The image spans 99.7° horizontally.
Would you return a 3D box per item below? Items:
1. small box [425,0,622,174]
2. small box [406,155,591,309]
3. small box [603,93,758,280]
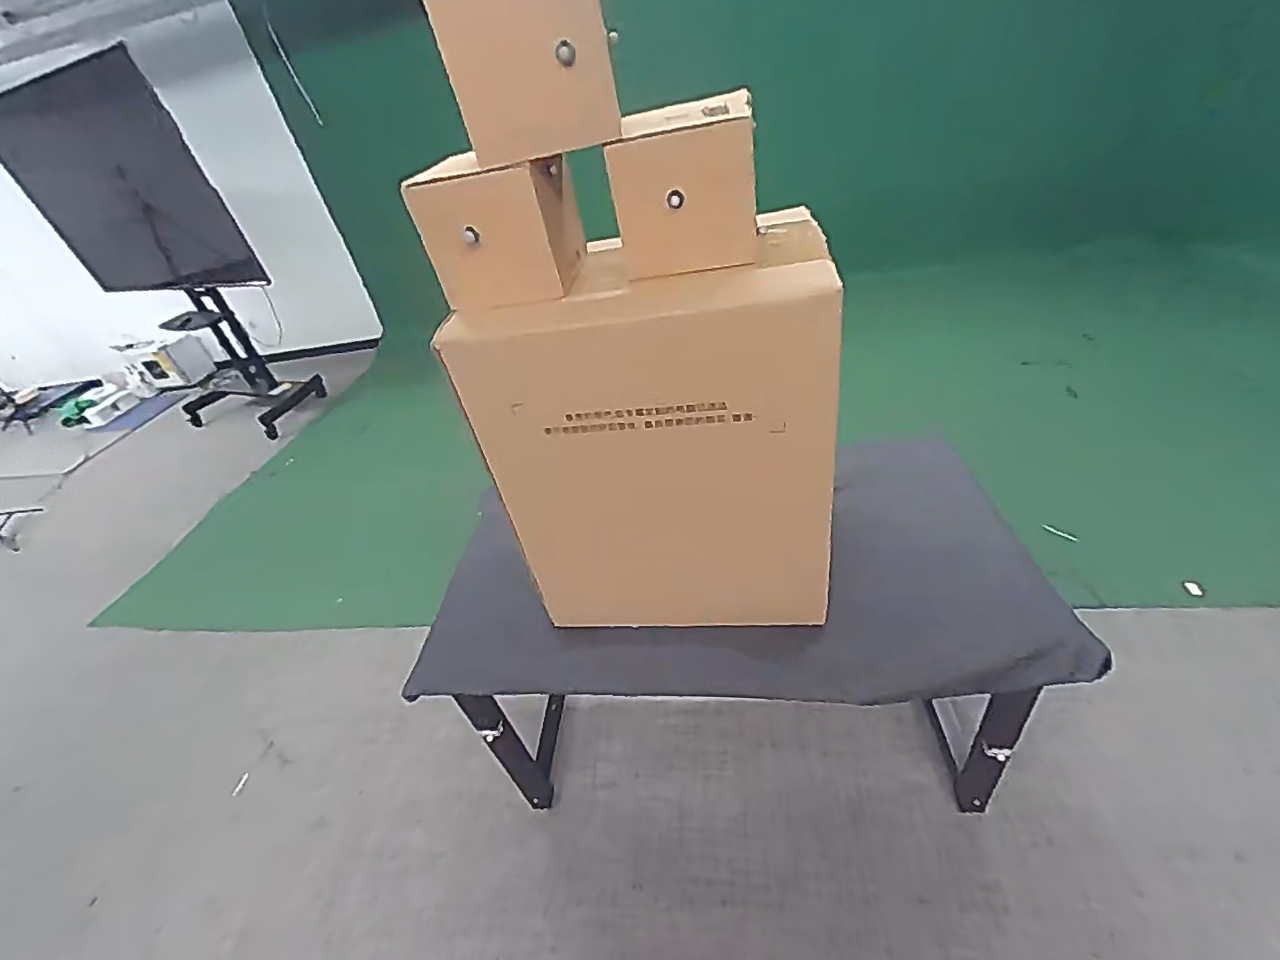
[{"bbox_3d":[-0.119,-0.489,0.648,0.179,0.176,0.168,-11,39,6],"label":"small box"},{"bbox_3d":[-0.186,-0.358,0.769,0.179,0.176,0.168,-3,42,13],"label":"small box"},{"bbox_3d":[0.067,-0.390,0.729,0.179,0.176,0.168,-3,42,14],"label":"small box"}]
